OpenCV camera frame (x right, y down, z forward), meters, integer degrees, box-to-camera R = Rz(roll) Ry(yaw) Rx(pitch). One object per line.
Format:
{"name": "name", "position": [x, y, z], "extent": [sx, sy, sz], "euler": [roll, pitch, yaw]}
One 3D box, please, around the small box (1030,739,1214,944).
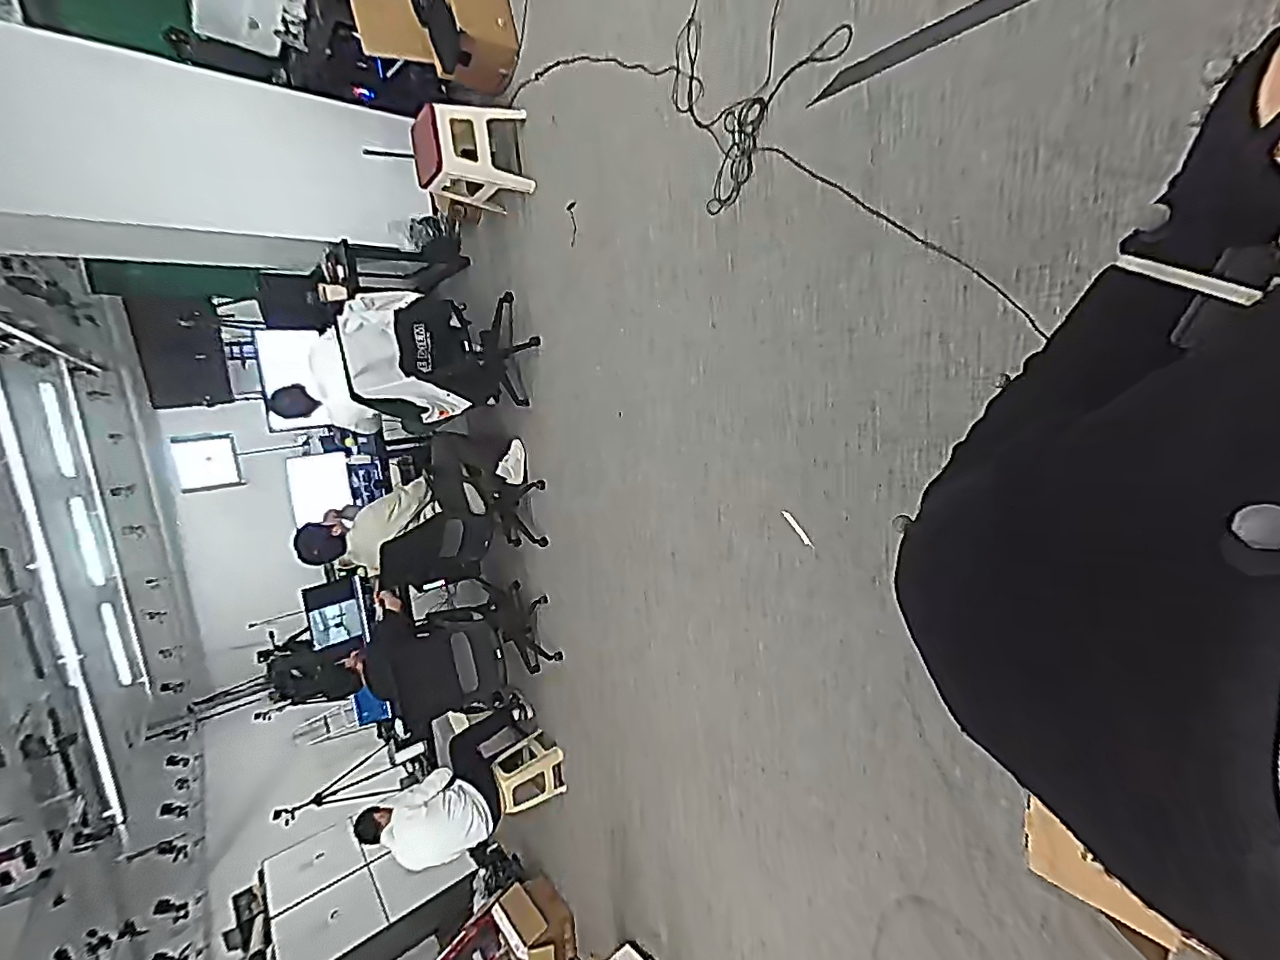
{"name": "small box", "position": [0.737, 0.532, 0.831], "extent": [0.179, 0.176, 0.168], "euler": [7, 105, 53]}
